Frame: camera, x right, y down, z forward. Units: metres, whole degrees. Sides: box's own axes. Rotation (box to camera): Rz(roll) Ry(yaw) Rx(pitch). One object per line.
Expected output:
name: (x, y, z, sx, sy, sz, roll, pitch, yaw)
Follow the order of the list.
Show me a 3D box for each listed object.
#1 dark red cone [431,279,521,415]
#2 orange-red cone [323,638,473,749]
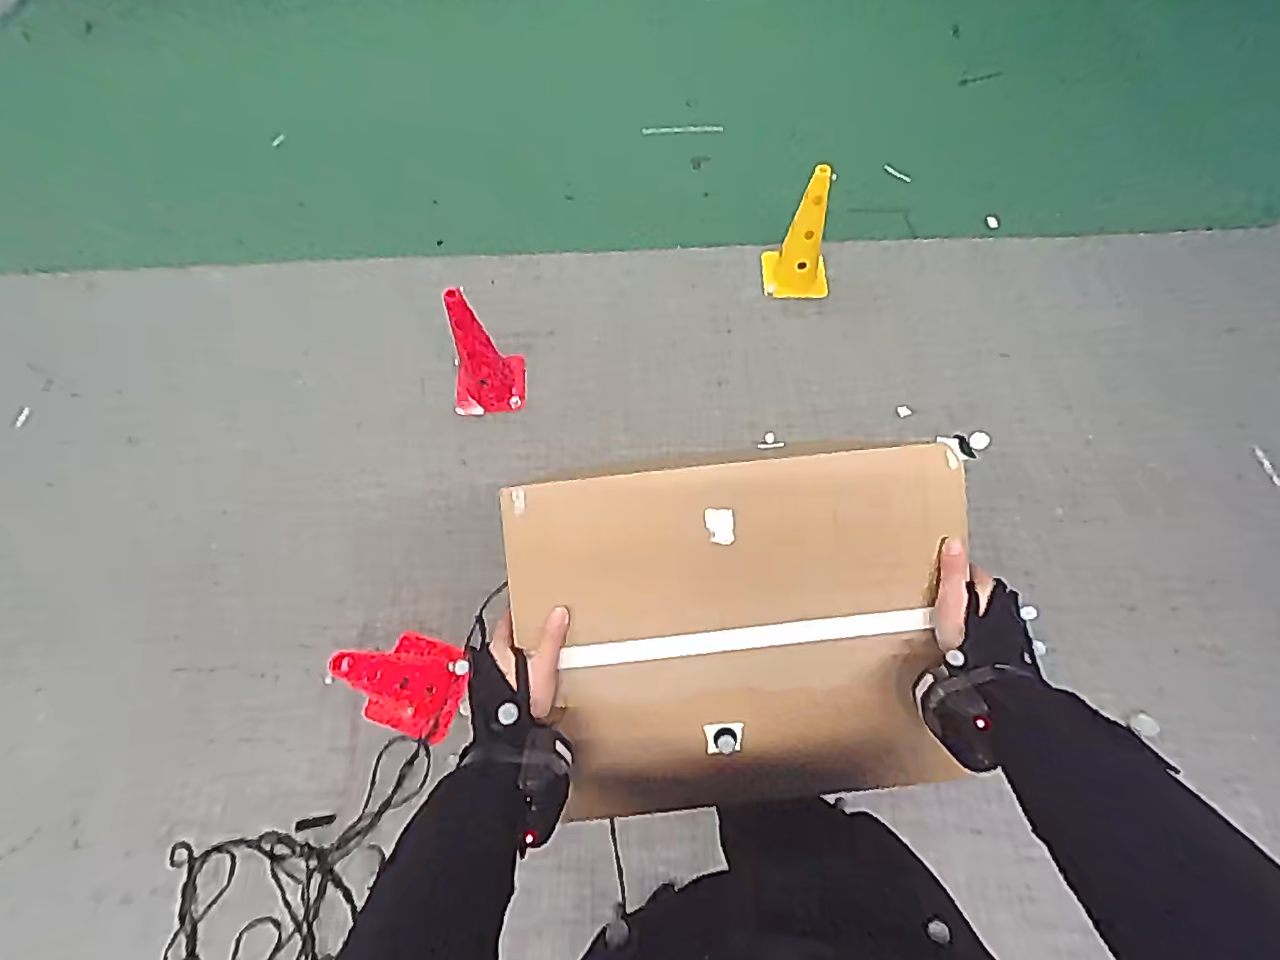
dark red cone: (-0.453, -0.359, 1.426, 0.202, 0.394, 0.201, -8, 59, -1)
orange-red cone: (-0.505, 0.391, 1.060, 0.199, 0.360, 0.198, 16, 63, 12)
